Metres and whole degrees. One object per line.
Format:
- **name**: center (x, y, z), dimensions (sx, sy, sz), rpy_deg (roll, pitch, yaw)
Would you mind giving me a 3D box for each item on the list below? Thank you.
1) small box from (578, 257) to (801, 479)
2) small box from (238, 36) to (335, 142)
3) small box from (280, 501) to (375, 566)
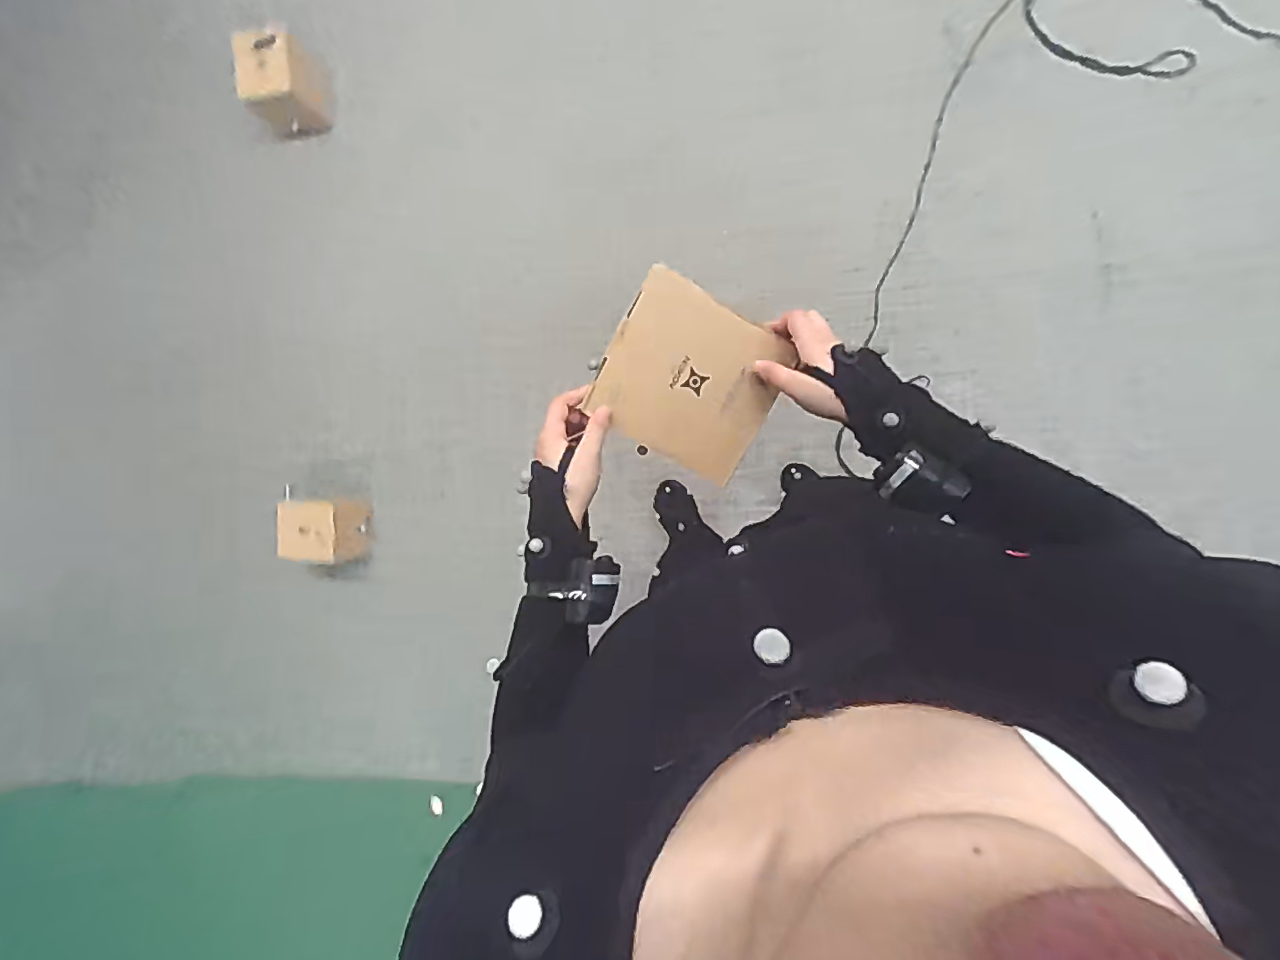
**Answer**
- **small box**: center (0.045, -0.125, 0.624), dimensions (0.179, 0.176, 0.168), rpy_deg (28, 101, -9)
- **small box**: center (-1.009, -1.117, 1.555), dimensions (0.168, 0.176, 0.179), rpy_deg (-3, 92, 9)
- **small box**: center (-0.904, 0.149, 1.572), dimensions (0.179, 0.176, 0.168), rpy_deg (2, 92, 9)
